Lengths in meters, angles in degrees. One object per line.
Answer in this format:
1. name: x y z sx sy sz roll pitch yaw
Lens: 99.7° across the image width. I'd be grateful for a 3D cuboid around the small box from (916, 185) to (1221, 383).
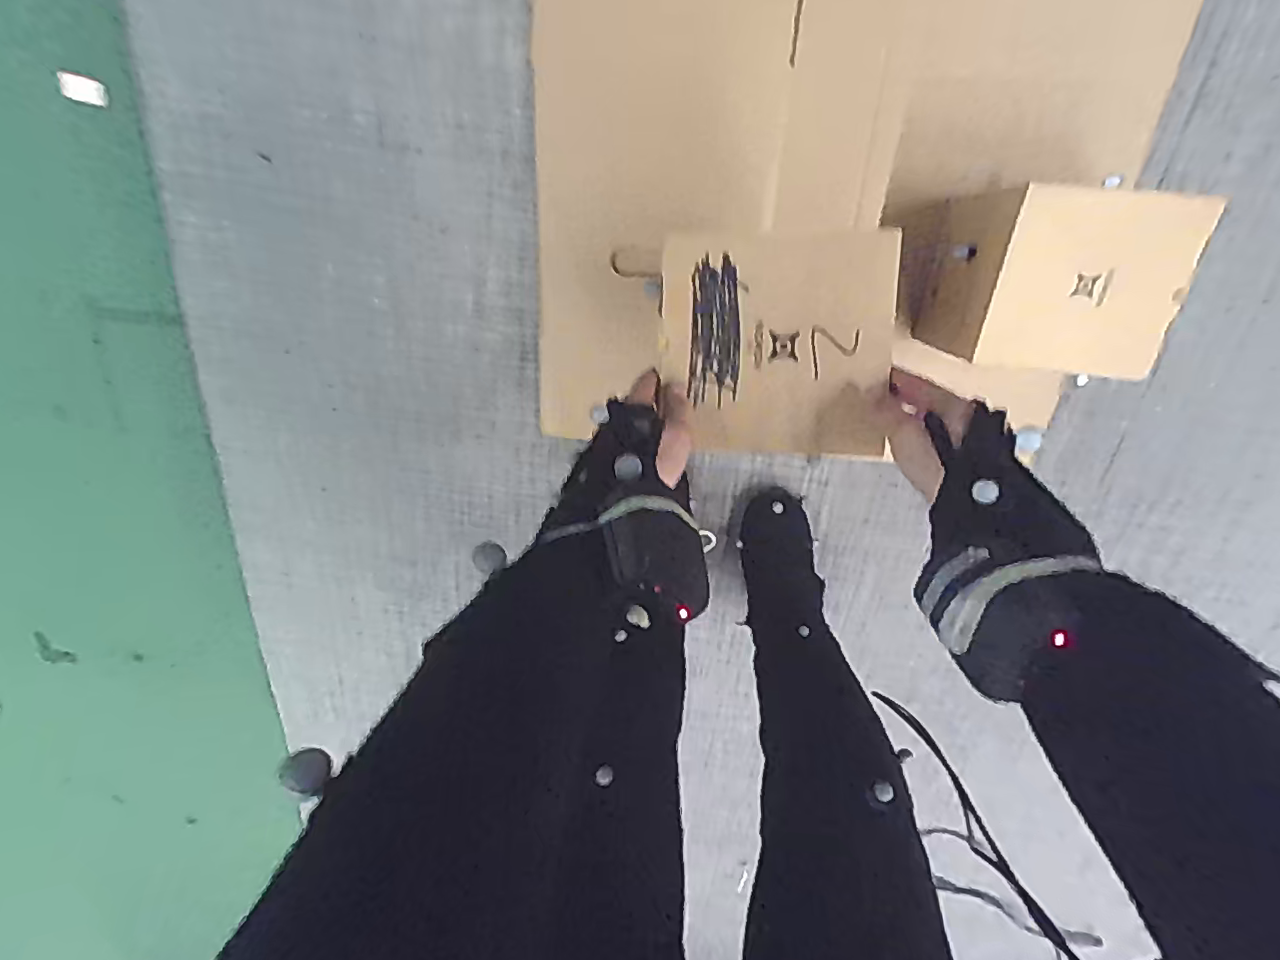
1. small box: 0.433 -0.212 0.589 0.179 0.176 0.168 6 113 3
